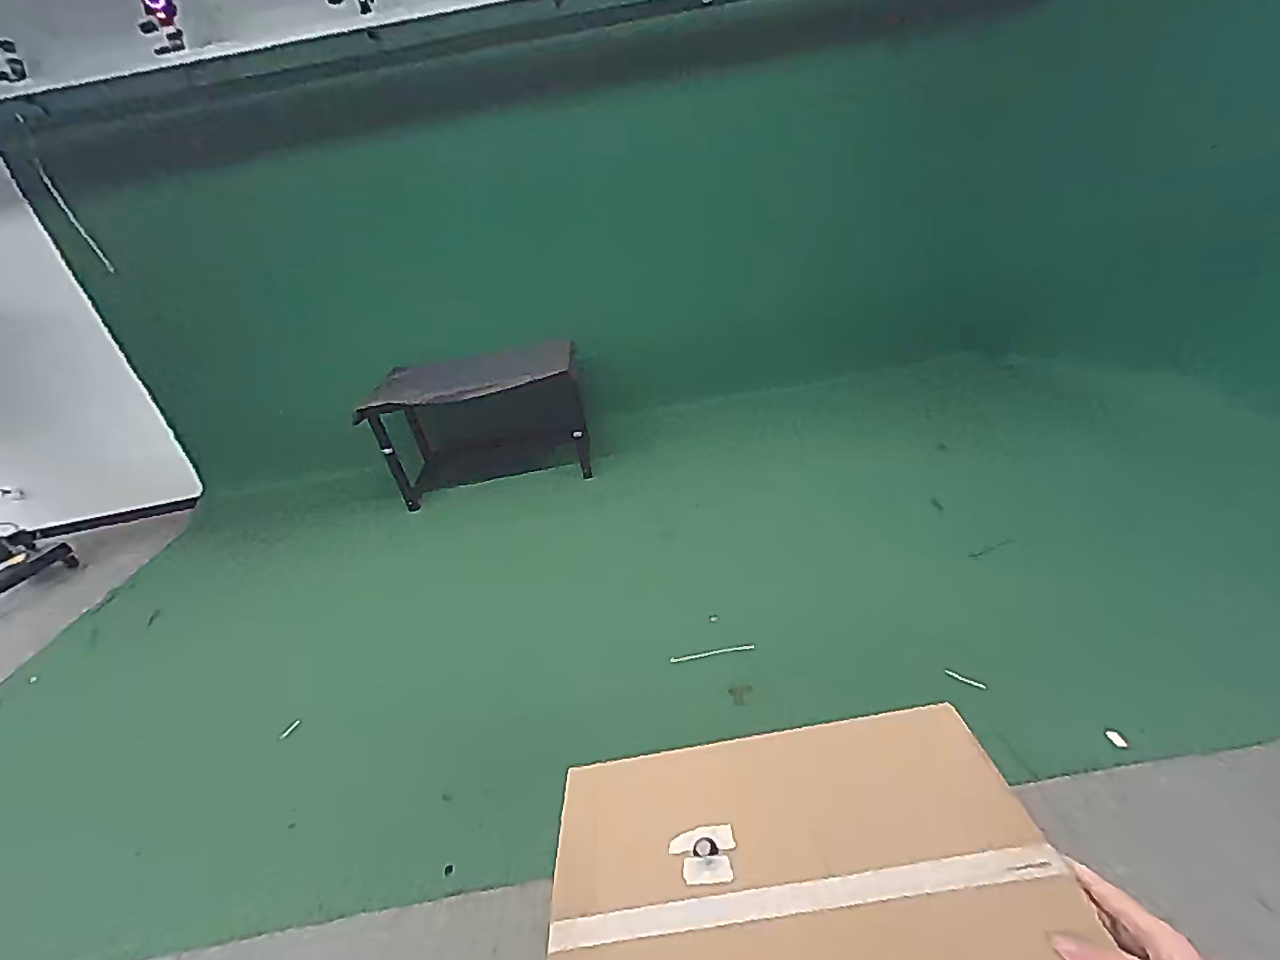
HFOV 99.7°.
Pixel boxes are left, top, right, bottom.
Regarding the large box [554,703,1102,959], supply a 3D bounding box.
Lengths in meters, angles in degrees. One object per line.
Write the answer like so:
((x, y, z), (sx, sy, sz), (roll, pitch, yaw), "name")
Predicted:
((0.159, 0.471, 0.502), (0.408, 0.320, 0.320), (-14, 25, 6), "large box")
